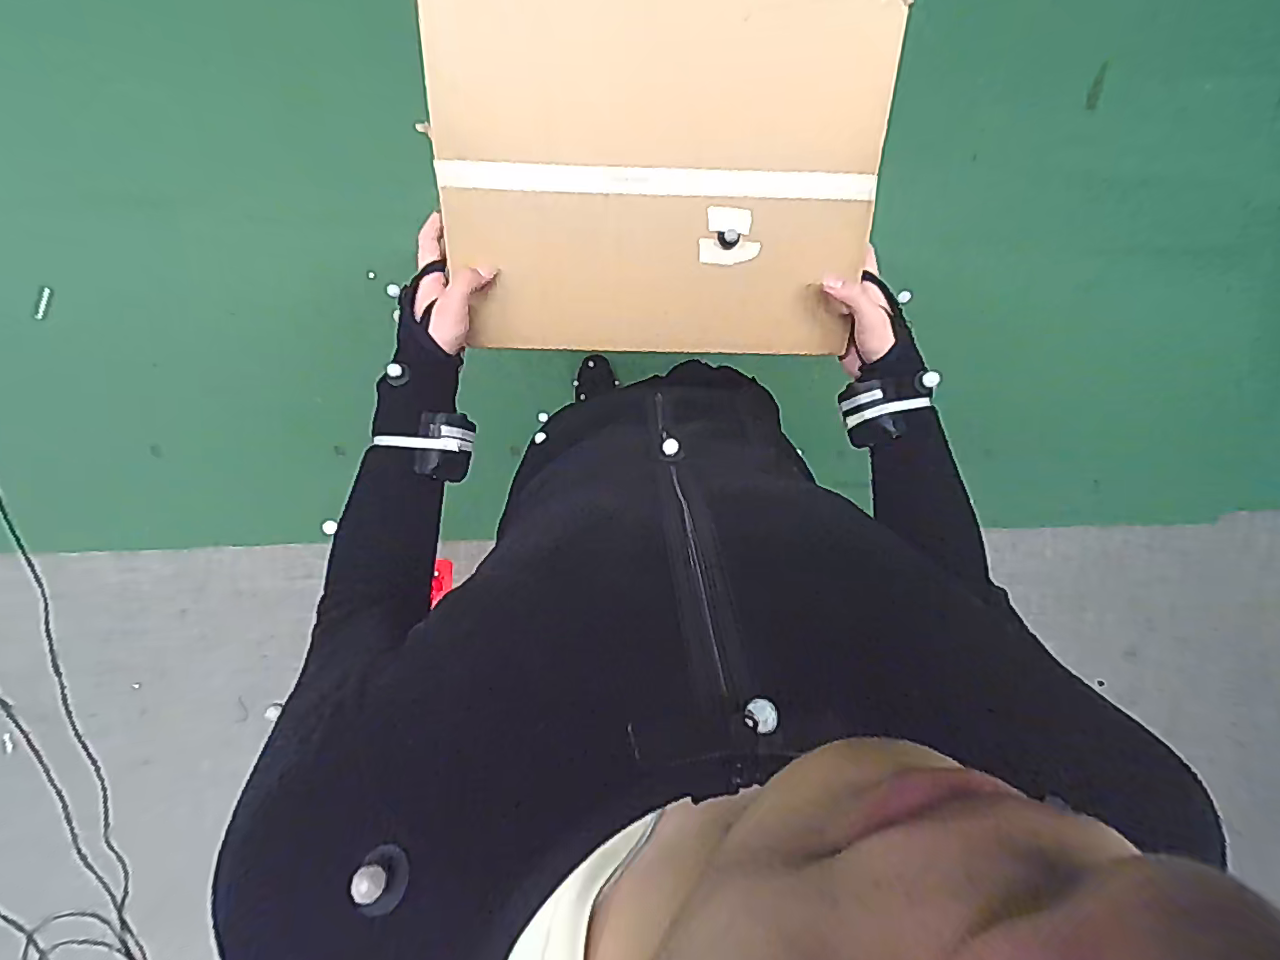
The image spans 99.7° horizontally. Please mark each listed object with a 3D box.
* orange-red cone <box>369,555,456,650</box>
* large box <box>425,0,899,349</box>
[{"bbox_3d":[-0.659,0.364,1.490,0.199,0.360,0.198,6,101,-5],"label":"orange-red cone"},{"bbox_3d":[0.011,-0.342,0.638,0.408,0.320,0.320,-1,116,-4],"label":"large box"}]
